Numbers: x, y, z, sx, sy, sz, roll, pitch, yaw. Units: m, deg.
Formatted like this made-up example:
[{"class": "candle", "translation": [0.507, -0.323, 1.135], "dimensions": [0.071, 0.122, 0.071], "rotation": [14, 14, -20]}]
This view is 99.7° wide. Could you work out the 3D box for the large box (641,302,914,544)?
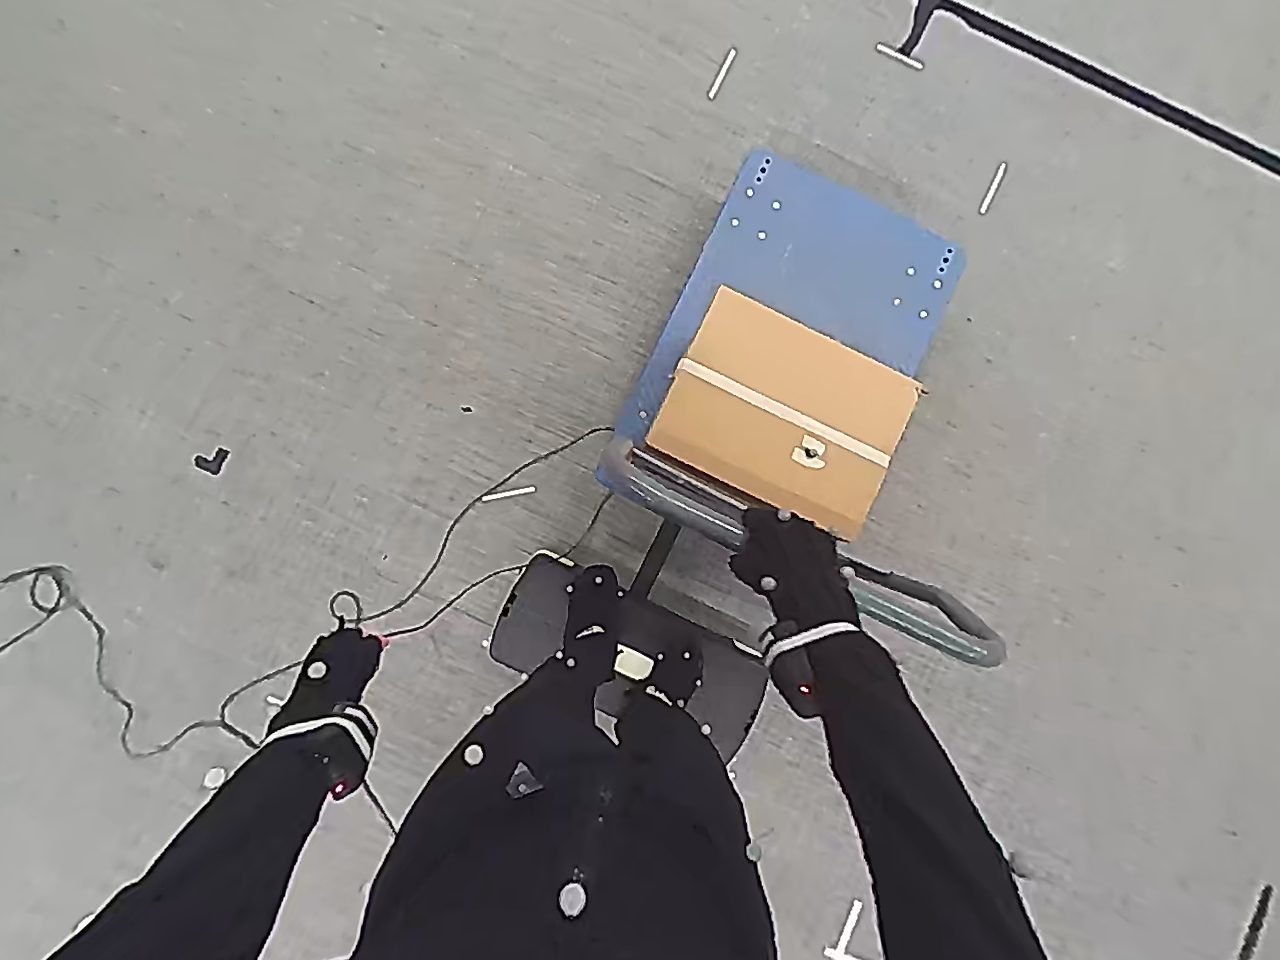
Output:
[{"class": "large box", "translation": [0.249, -0.098, 1.116], "dimensions": [0.408, 0.320, 0.320], "rotation": [26, 87, -2]}]
